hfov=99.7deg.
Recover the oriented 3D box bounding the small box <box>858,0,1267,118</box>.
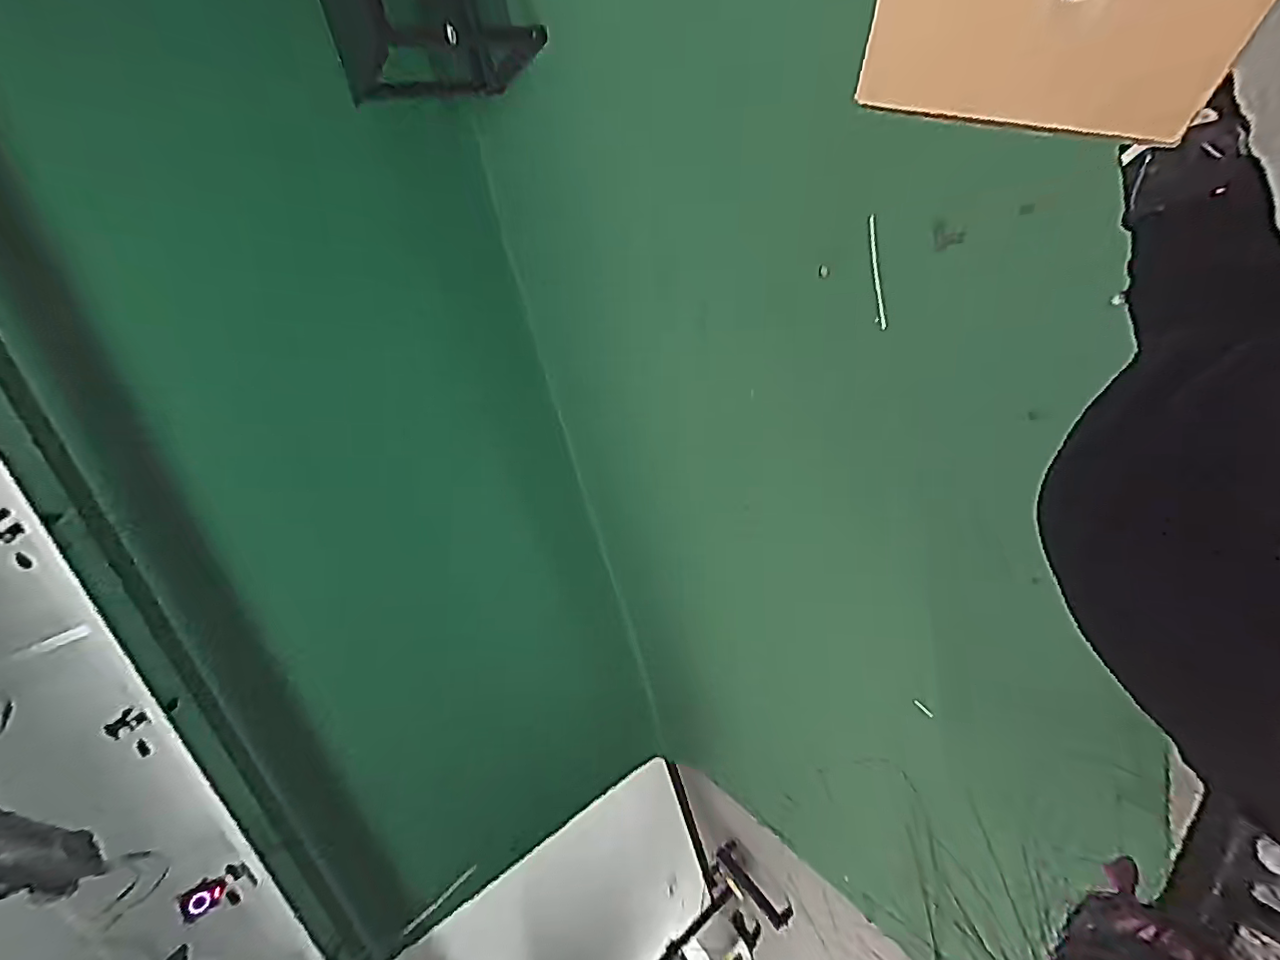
[{"bbox_3d":[0.239,-0.325,0.275,0.179,0.168,0.176,22,154,19],"label":"small box"}]
